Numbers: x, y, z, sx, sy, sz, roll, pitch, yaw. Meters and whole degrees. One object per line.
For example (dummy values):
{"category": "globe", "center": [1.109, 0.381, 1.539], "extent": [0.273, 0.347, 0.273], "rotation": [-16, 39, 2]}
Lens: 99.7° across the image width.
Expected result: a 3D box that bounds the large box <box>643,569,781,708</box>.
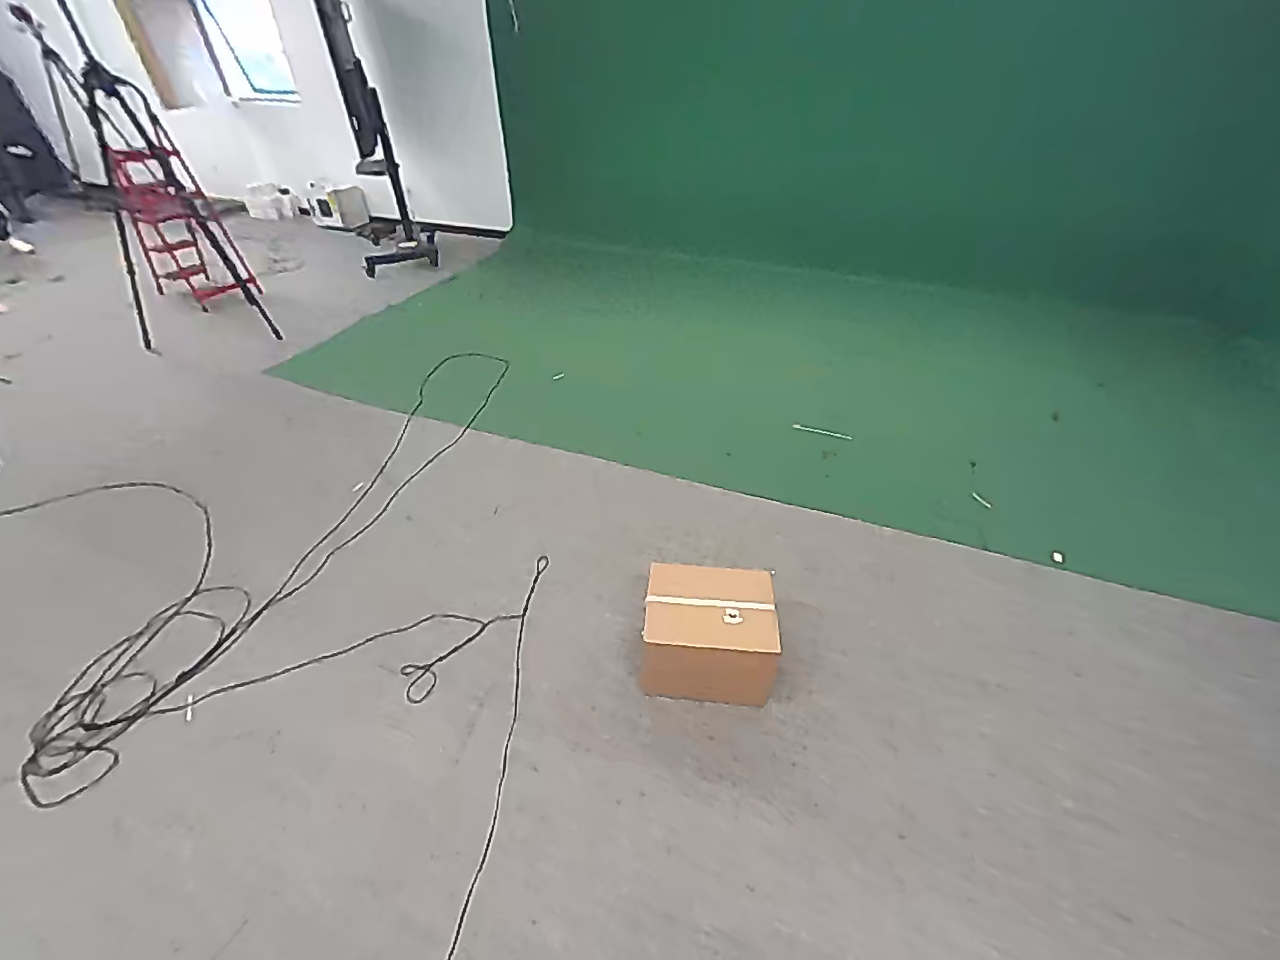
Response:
{"category": "large box", "center": [0.220, 0.520, 1.783], "extent": [0.408, 0.320, 0.320], "rotation": [4, 39, 4]}
